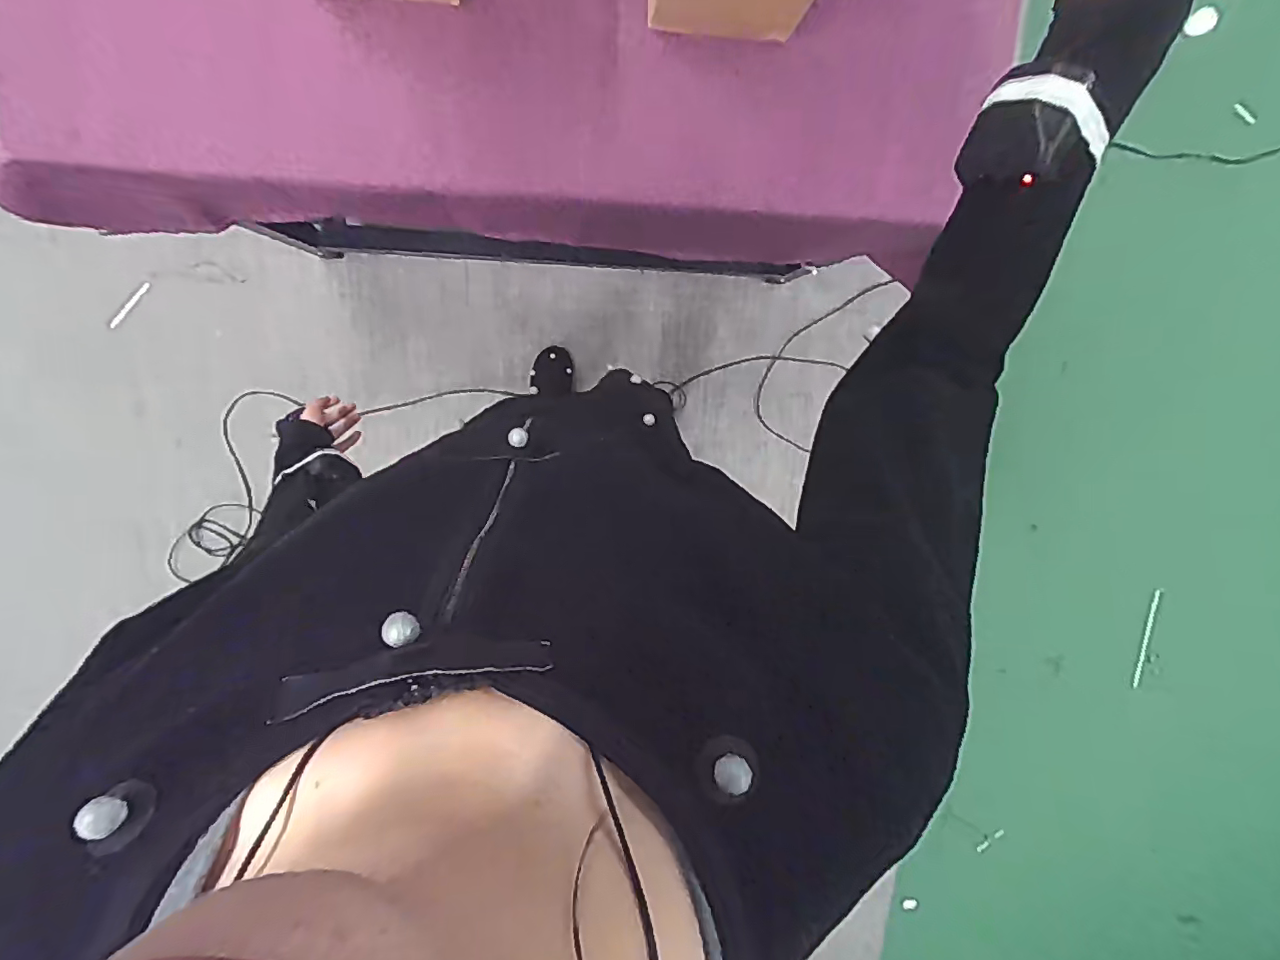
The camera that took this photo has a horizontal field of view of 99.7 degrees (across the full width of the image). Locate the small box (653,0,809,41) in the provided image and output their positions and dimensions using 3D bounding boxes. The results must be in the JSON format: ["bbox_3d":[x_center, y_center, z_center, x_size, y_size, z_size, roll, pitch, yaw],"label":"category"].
[{"bbox_3d":[0.110,-0.606,0.571,0.179,0.176,0.168,1,103,-7],"label":"small box"}]
